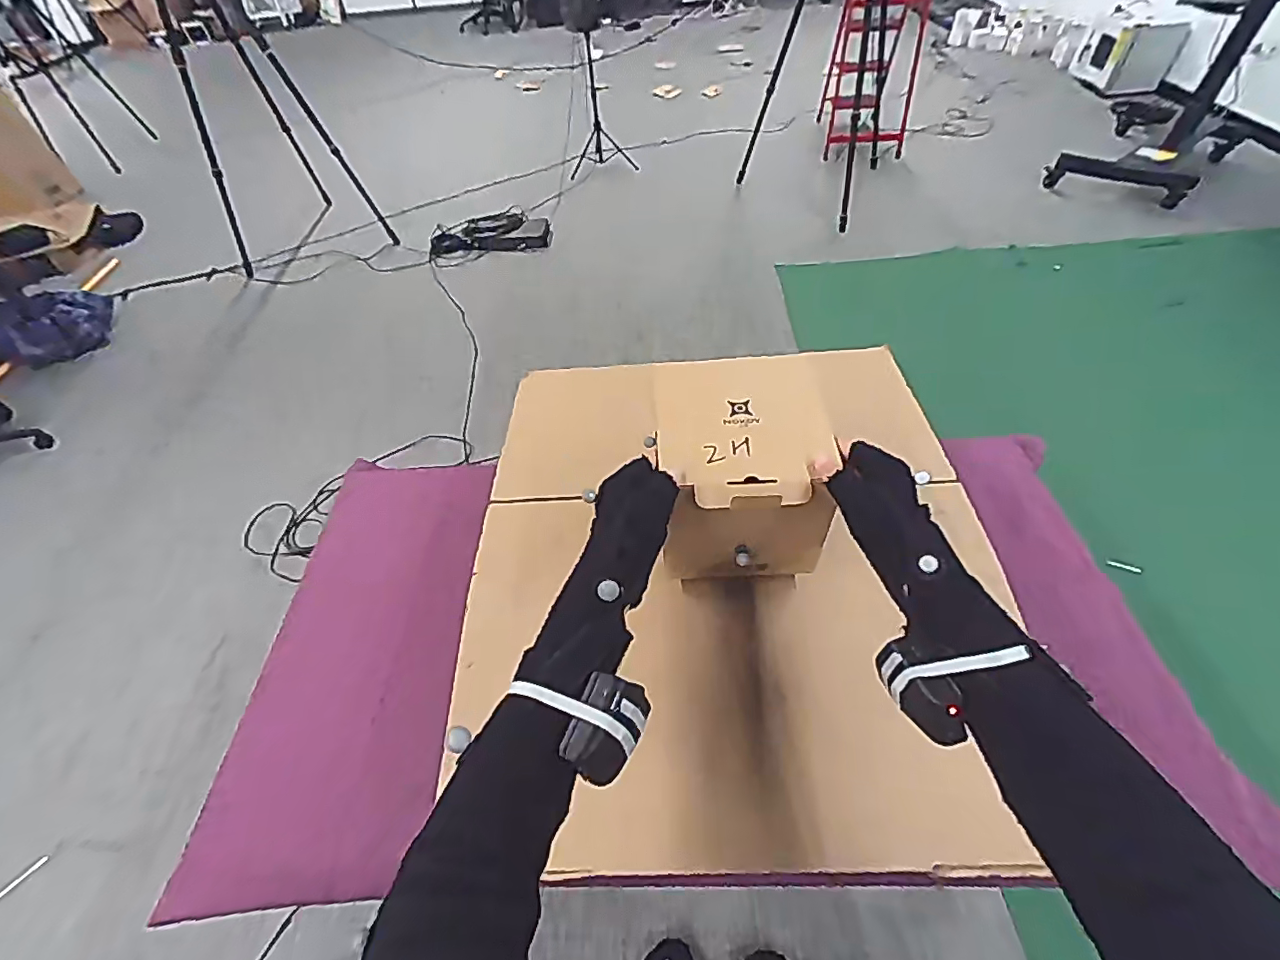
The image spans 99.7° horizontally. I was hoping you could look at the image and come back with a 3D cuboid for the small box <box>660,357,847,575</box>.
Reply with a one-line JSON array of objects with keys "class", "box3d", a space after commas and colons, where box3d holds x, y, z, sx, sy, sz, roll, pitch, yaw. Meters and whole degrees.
[{"class": "small box", "box3d": [0.105, -0.013, 0.591, 0.168, 0.176, 0.179, -2, 51, 3]}]
